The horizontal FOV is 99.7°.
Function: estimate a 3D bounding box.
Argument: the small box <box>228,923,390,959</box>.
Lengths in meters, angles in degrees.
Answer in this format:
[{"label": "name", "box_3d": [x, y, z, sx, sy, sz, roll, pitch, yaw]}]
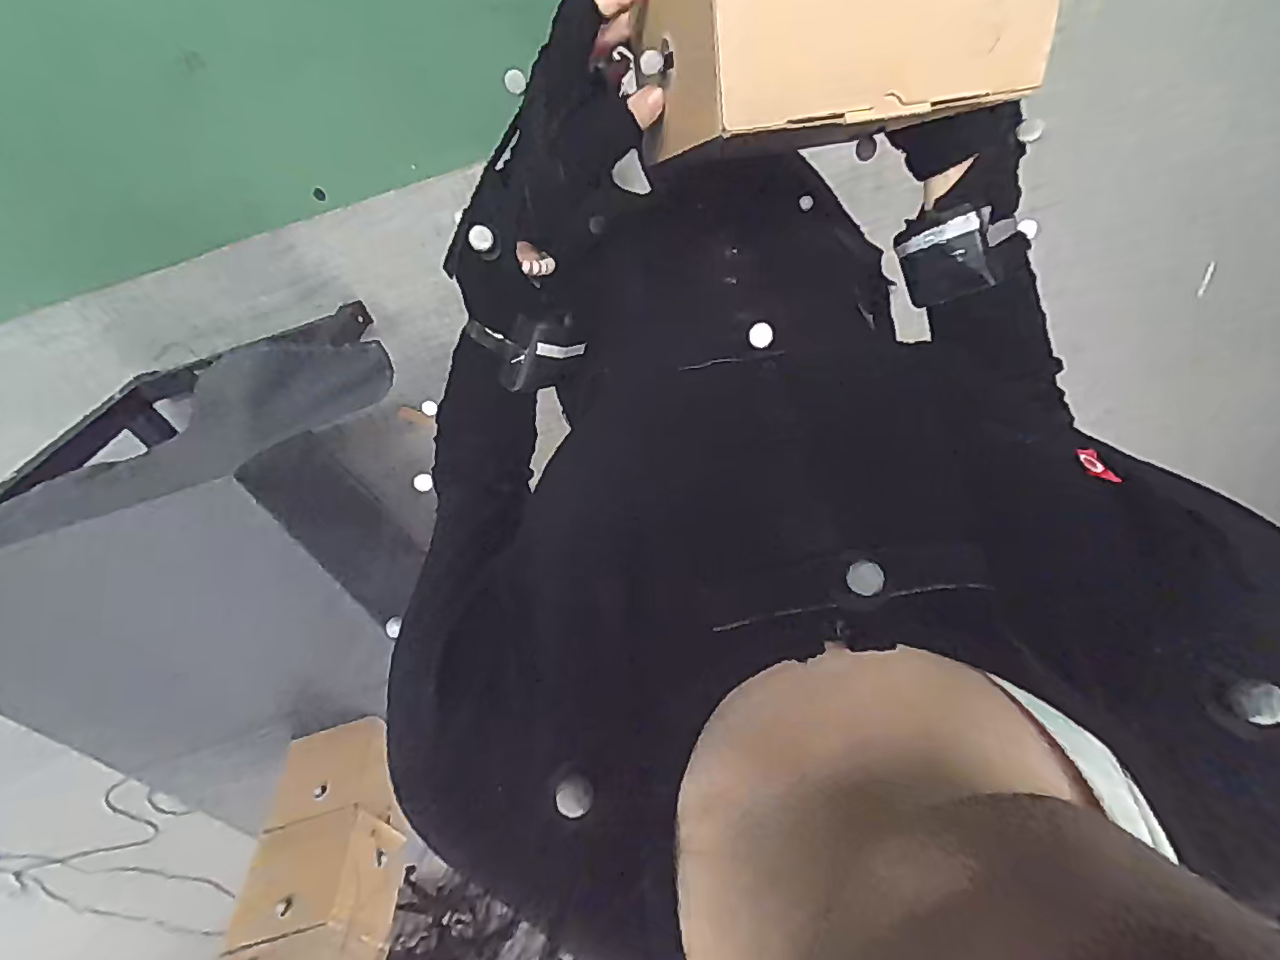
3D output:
[{"label": "small box", "box_3d": [-0.485, 0.764, 0.765, 0.168, 0.176, 0.179, -17, 127, 1]}]

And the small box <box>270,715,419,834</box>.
[{"label": "small box", "box_3d": [-0.541, 0.576, 1.026, 0.179, 0.176, 0.168, -18, 127, 3]}]

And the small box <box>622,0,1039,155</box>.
[{"label": "small box", "box_3d": [0.083, -0.286, 0.290, 0.168, 0.176, 0.179, -12, 117, -6]}]

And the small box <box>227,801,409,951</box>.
[{"label": "small box", "box_3d": [-0.515, 0.670, 0.897, 0.179, 0.176, 0.168, -18, 127, 2]}]
